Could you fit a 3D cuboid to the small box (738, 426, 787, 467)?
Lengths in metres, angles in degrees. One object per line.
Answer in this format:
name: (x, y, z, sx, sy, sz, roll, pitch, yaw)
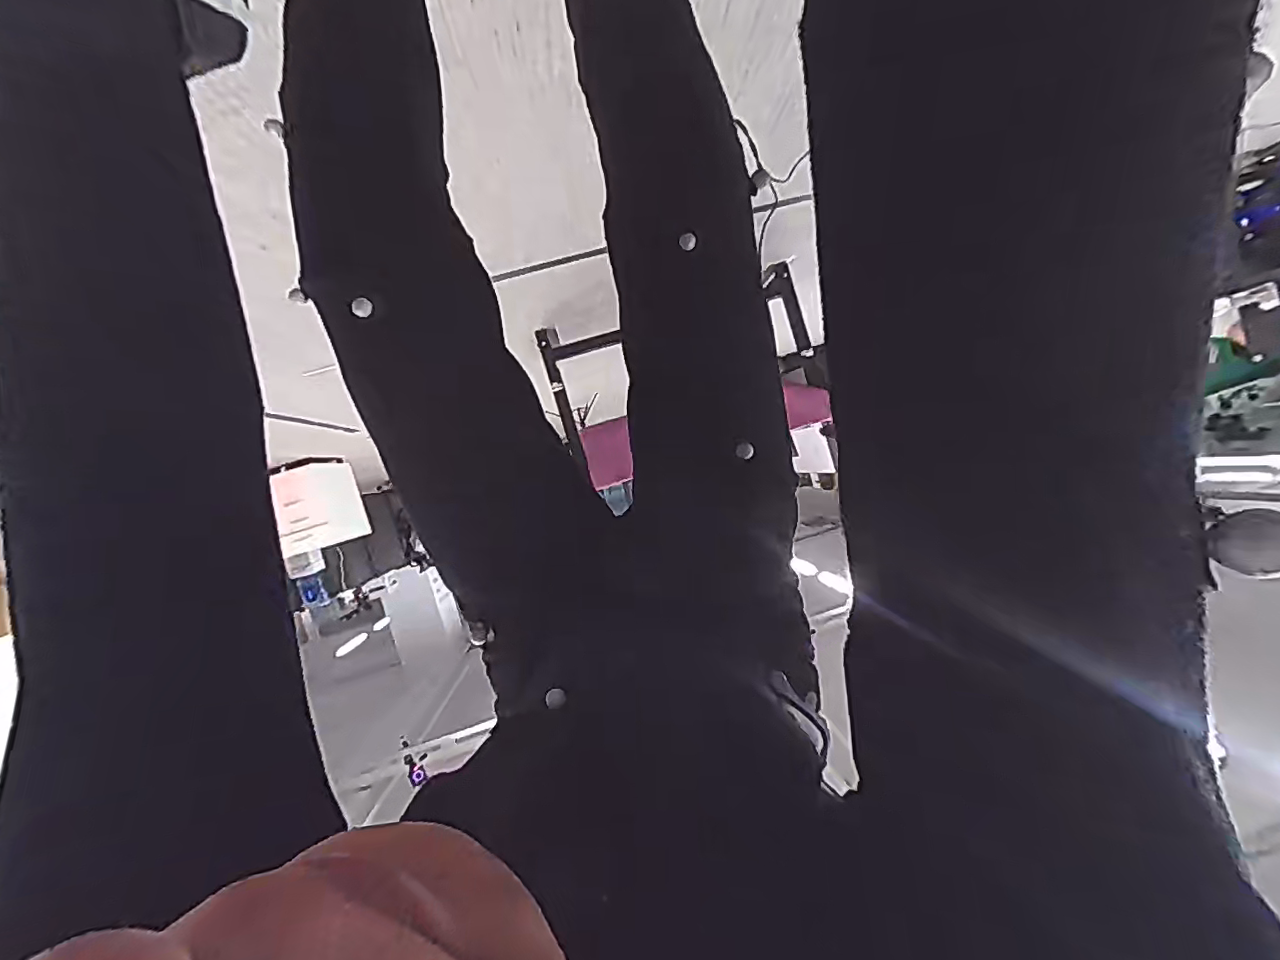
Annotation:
small box: (0.621, -0.169, 2.752, 0.179, 0.176, 0.168, -17, -178, -2)
